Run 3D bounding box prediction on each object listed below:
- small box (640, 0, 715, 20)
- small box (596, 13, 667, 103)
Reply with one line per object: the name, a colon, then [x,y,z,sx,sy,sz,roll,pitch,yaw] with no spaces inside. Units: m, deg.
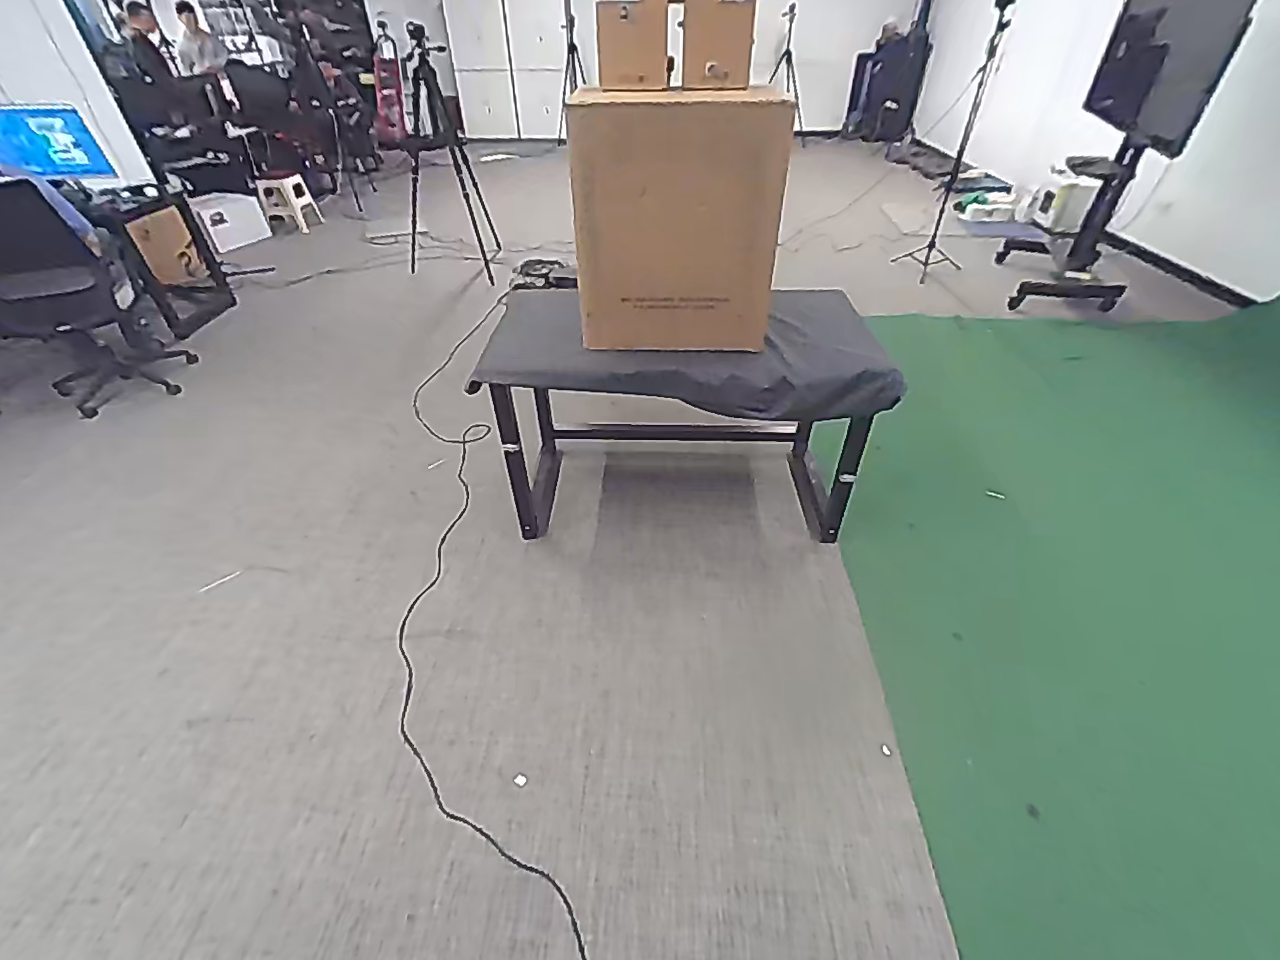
small box: [0.089,-1.187,1.262,0.179,0.176,0.168,0,38,2]
small box: [-0.016,-1.052,1.356,0.168,0.176,0.179,0,37,4]
